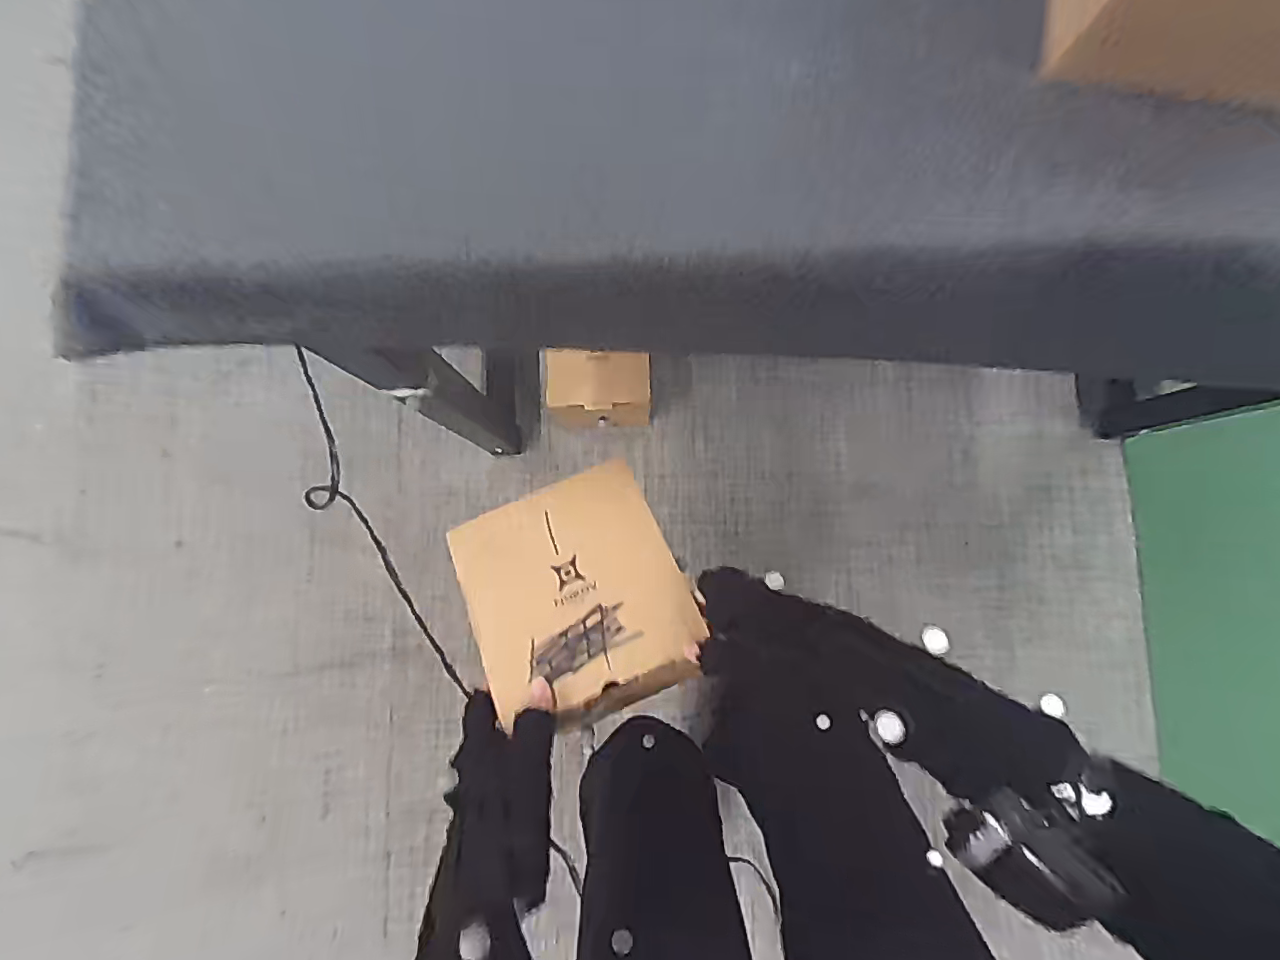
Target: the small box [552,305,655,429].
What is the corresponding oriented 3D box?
[{"bbox_3d":[-0.057,-0.185,0.936,0.168,0.176,0.179,-2,84,0],"label":"small box"}]
